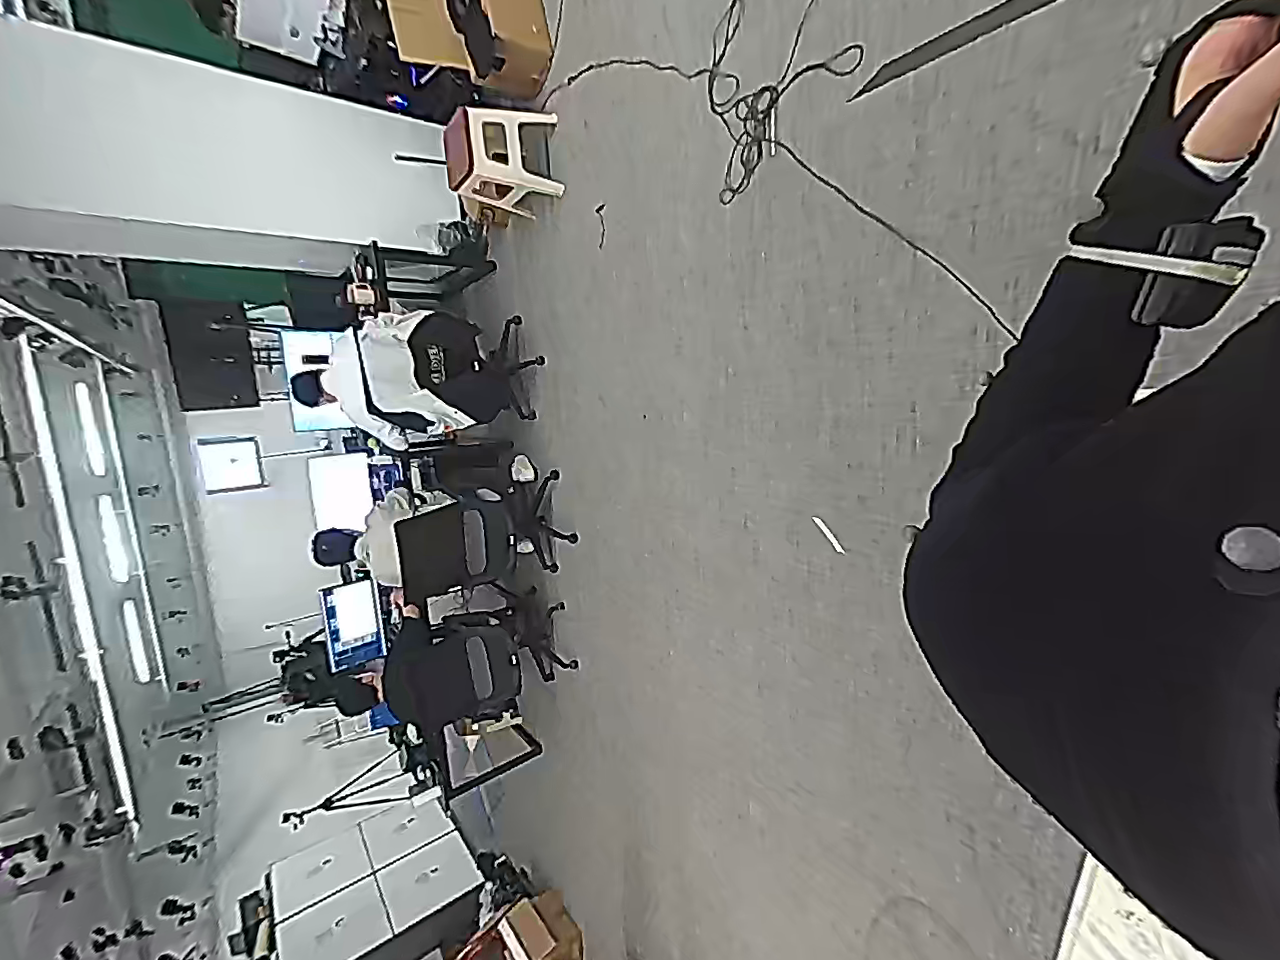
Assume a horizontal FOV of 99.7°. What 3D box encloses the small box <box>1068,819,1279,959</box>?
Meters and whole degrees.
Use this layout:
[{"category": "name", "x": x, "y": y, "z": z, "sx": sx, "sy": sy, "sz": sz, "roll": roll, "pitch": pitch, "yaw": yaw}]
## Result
[{"category": "small box", "x": 0.661, "y": 0.571, "z": 0.657, "sx": 0.168, "sy": 0.176, "sz": 0.179, "roll": 20, "pitch": 113, "yaw": 51}]
